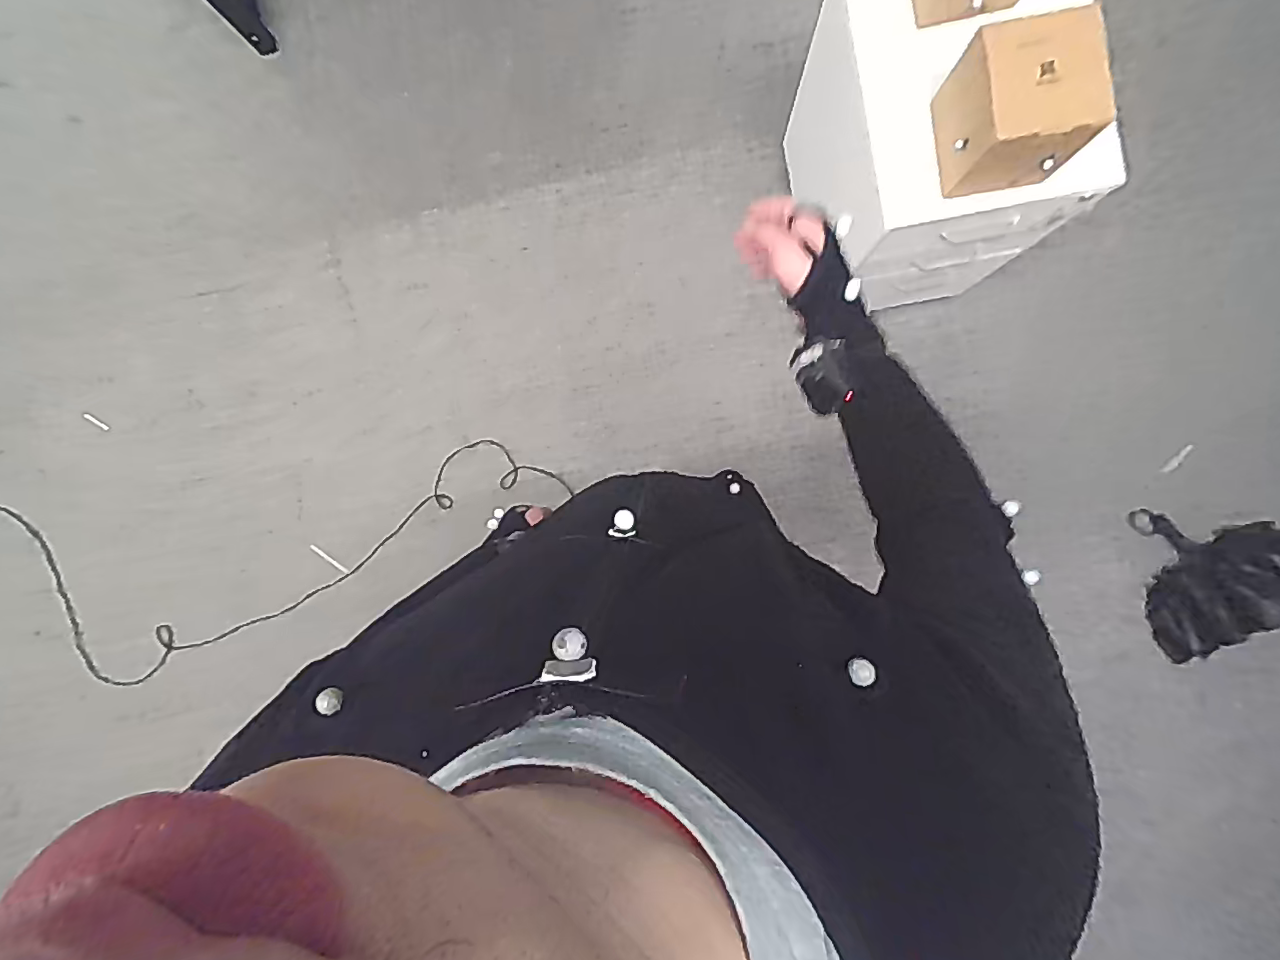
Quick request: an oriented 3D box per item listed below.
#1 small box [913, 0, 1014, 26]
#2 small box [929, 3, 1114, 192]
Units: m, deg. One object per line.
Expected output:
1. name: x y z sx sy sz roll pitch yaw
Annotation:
1. small box: 0.538 -0.875 0.845 0.168 0.176 0.179 -10 92 4
2. small box: 0.583 -0.580 0.849 0.168 0.176 0.179 -8 88 3
